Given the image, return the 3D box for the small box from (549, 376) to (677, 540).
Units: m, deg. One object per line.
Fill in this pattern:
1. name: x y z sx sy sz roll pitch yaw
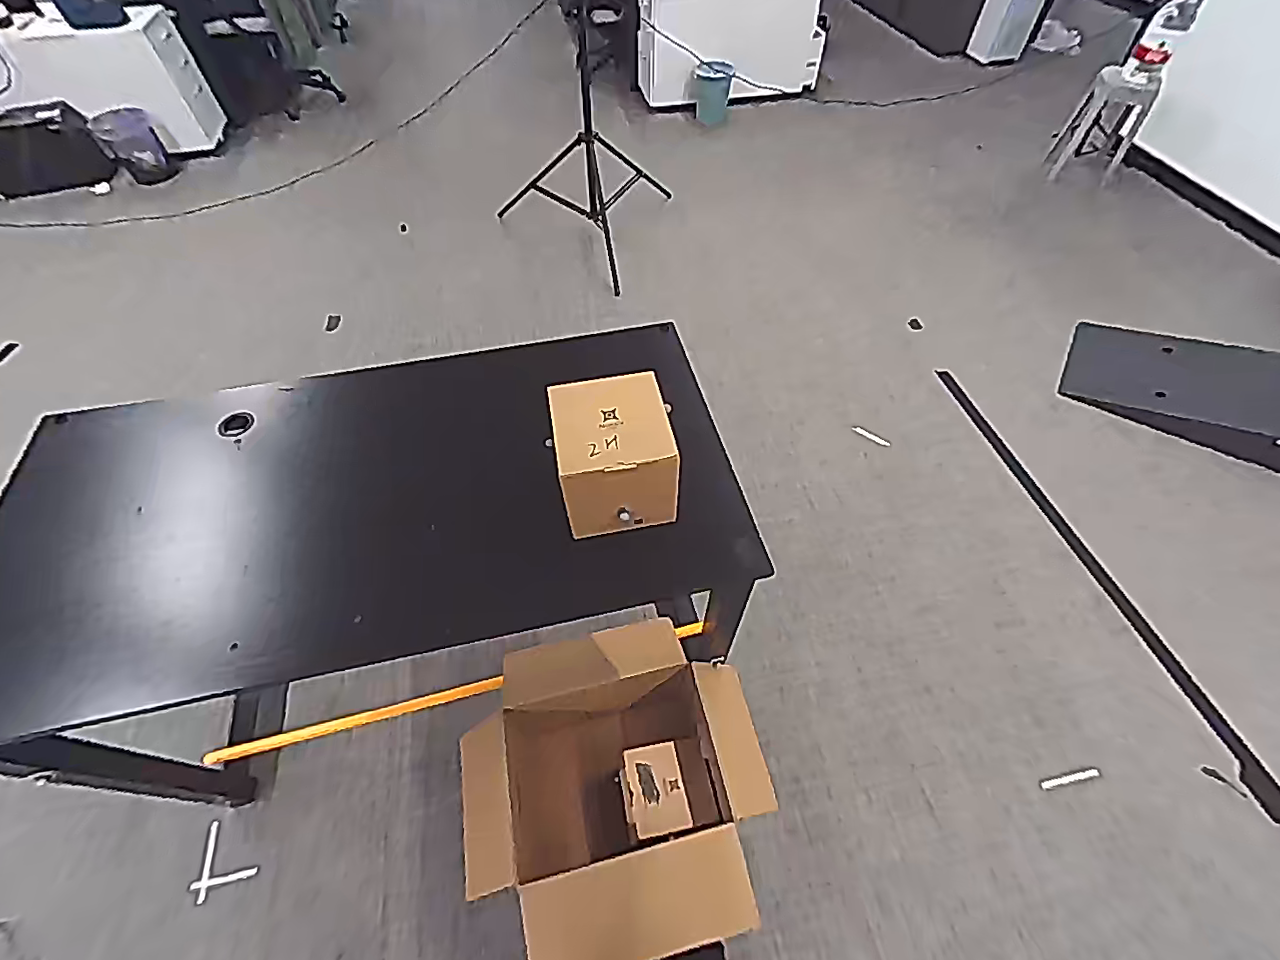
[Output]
1. small box: -0.043 -0.032 0.836 0.168 0.176 0.179 -10 54 -5
